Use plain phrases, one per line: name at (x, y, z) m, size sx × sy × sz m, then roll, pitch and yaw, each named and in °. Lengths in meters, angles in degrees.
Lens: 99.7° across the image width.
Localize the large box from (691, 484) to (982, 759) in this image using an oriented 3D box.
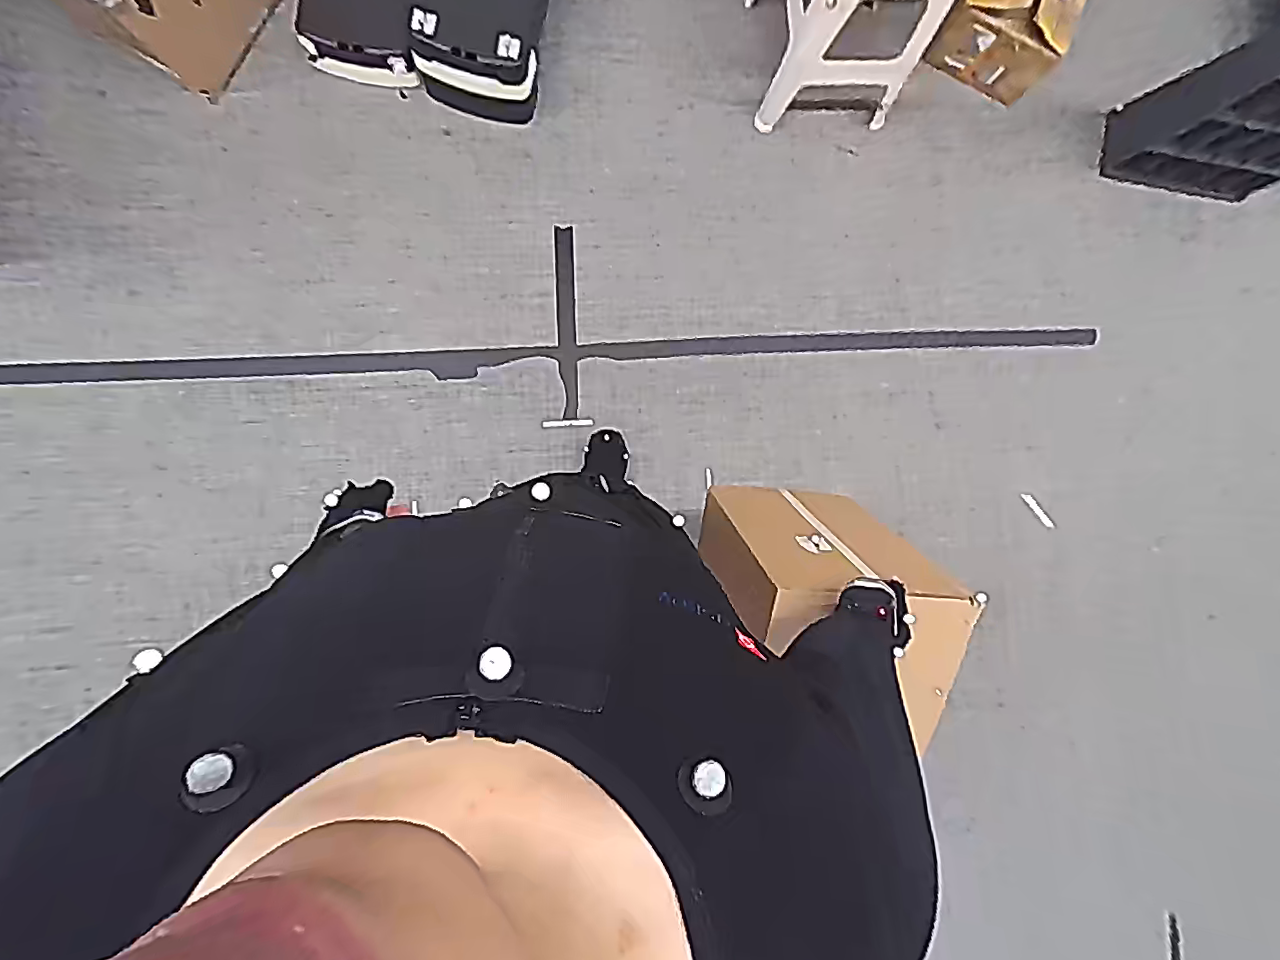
large box at (0.304, 0.233, 0.992) m, size 0.320 × 0.408 × 0.320 m, roll 5°, pitch 110°, yaw -8°
